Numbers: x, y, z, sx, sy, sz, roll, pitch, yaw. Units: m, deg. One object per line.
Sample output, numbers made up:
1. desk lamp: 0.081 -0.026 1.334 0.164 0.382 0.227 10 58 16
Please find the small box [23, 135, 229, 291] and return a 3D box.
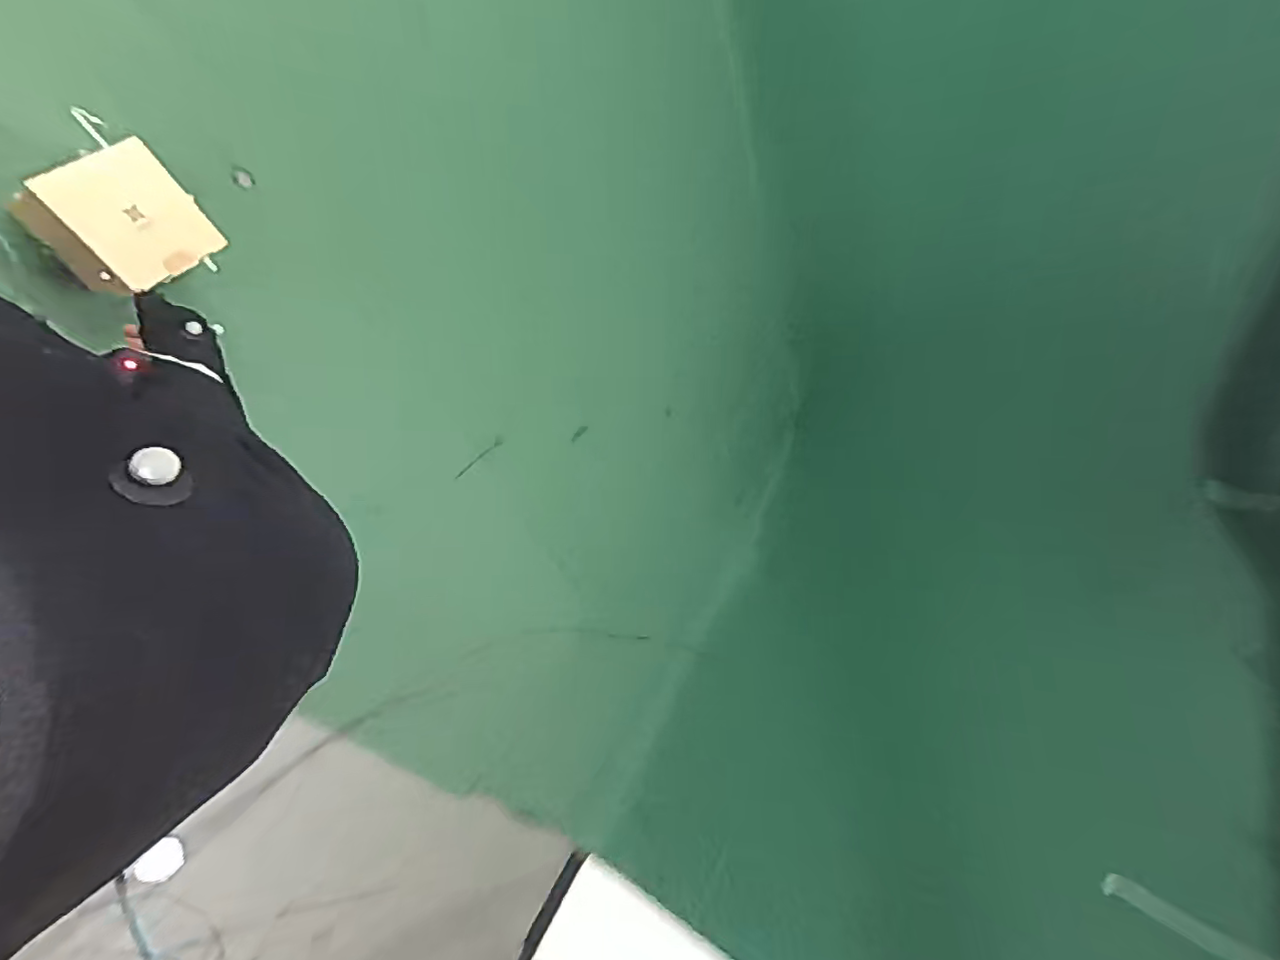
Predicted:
1. small box: -0.846 -0.429 0.893 0.168 0.176 0.179 -53 138 -28
